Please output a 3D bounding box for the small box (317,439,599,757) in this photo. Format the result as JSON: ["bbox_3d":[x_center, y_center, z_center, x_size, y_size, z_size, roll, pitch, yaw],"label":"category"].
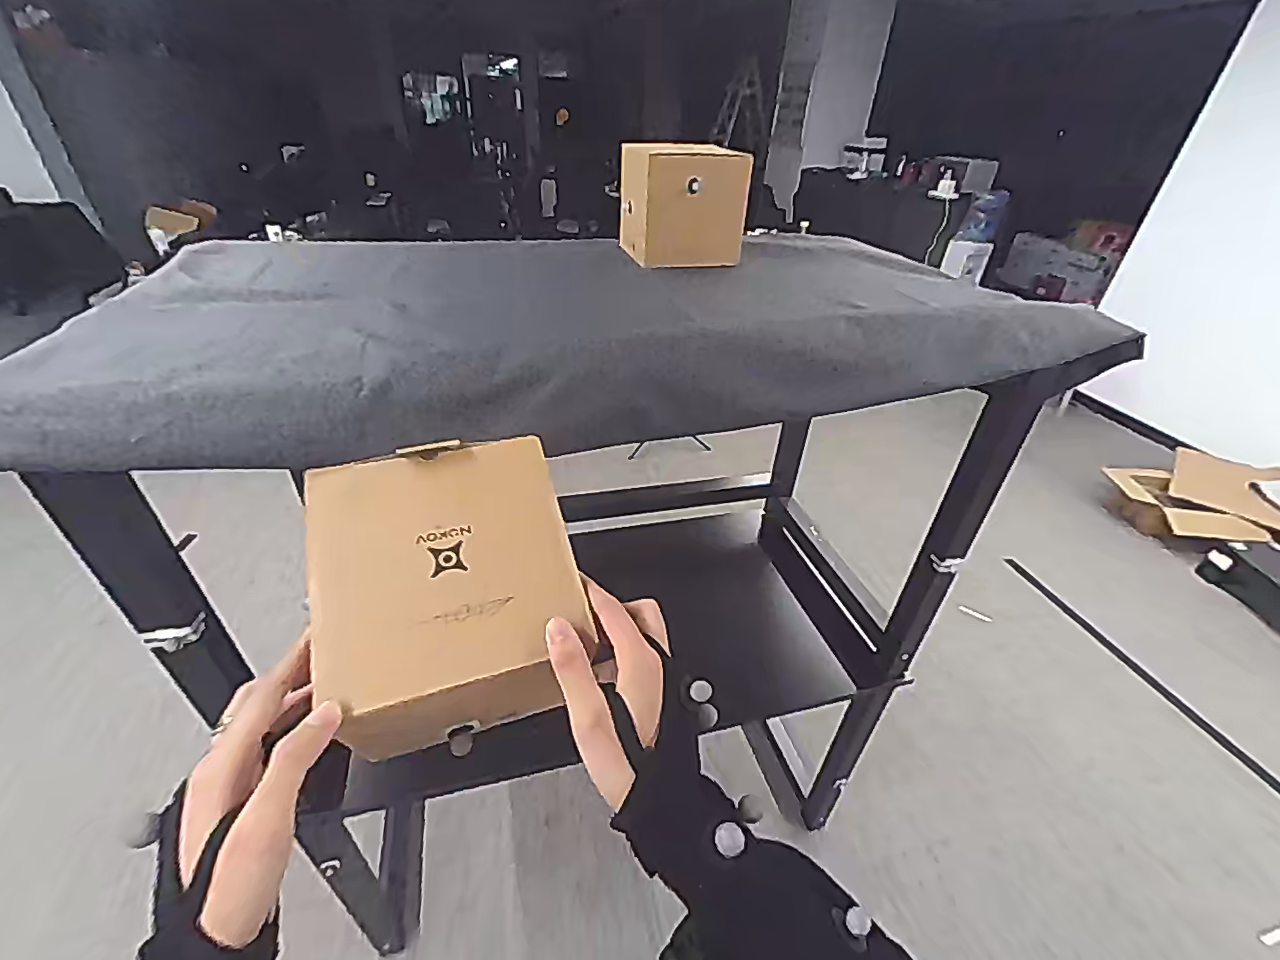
[{"bbox_3d":[-0.142,0.095,0.432,0.168,0.176,0.179,-11,58,-18],"label":"small box"}]

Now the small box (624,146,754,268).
[{"bbox_3d":[0.074,-0.471,0.931,0.179,0.176,0.168,-7,37,-13],"label":"small box"}]
